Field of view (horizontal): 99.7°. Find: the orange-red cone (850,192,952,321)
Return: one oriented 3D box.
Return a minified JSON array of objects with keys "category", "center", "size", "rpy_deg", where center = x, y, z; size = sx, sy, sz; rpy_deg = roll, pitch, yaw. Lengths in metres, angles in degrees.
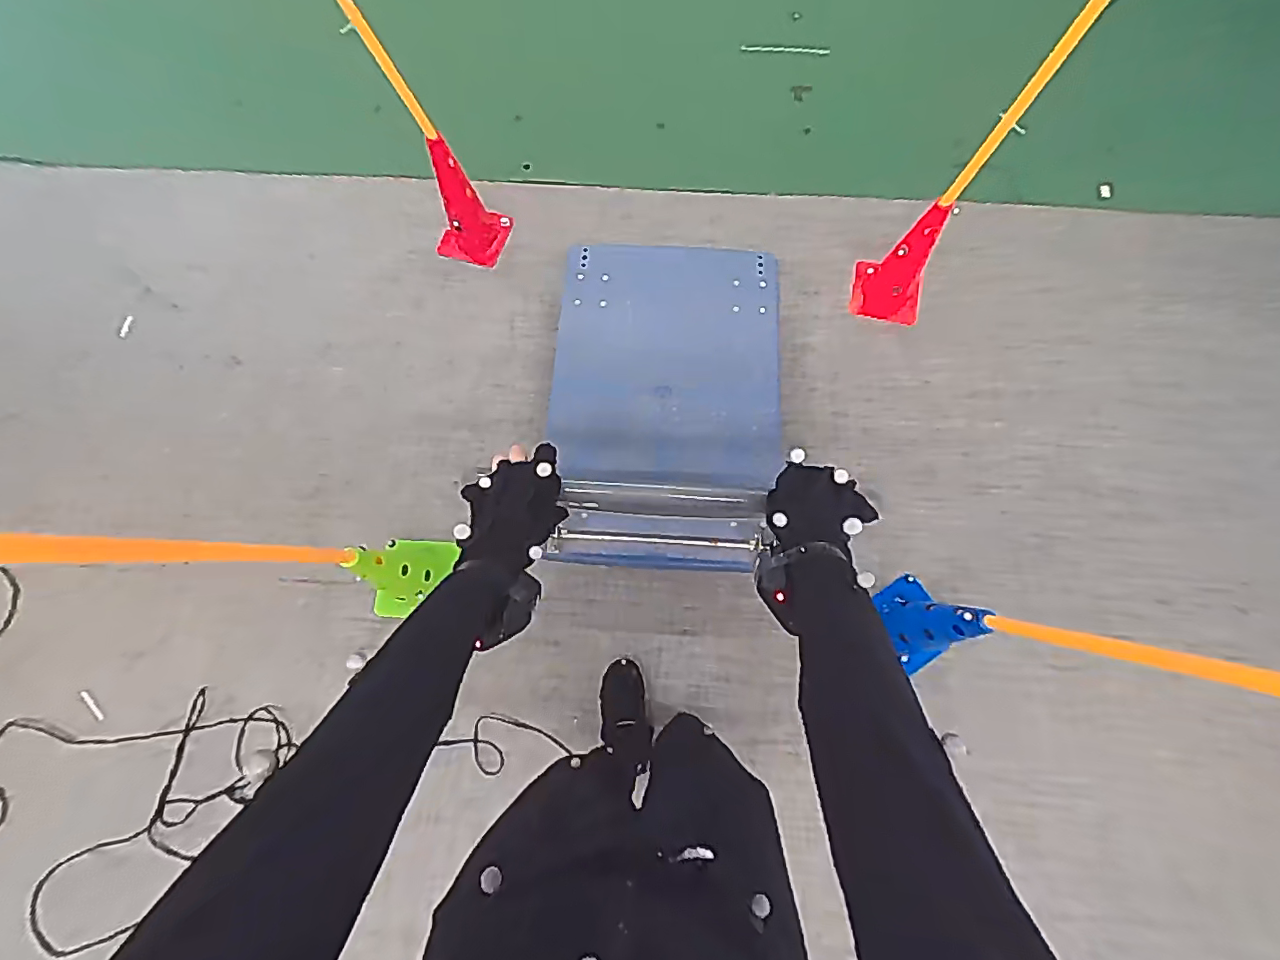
[{"category":"orange-red cone","center":[0.737,-0.625,1.464],"size":[0.198,0.360,0.199],"rpy_deg":[14,75,6]}]
